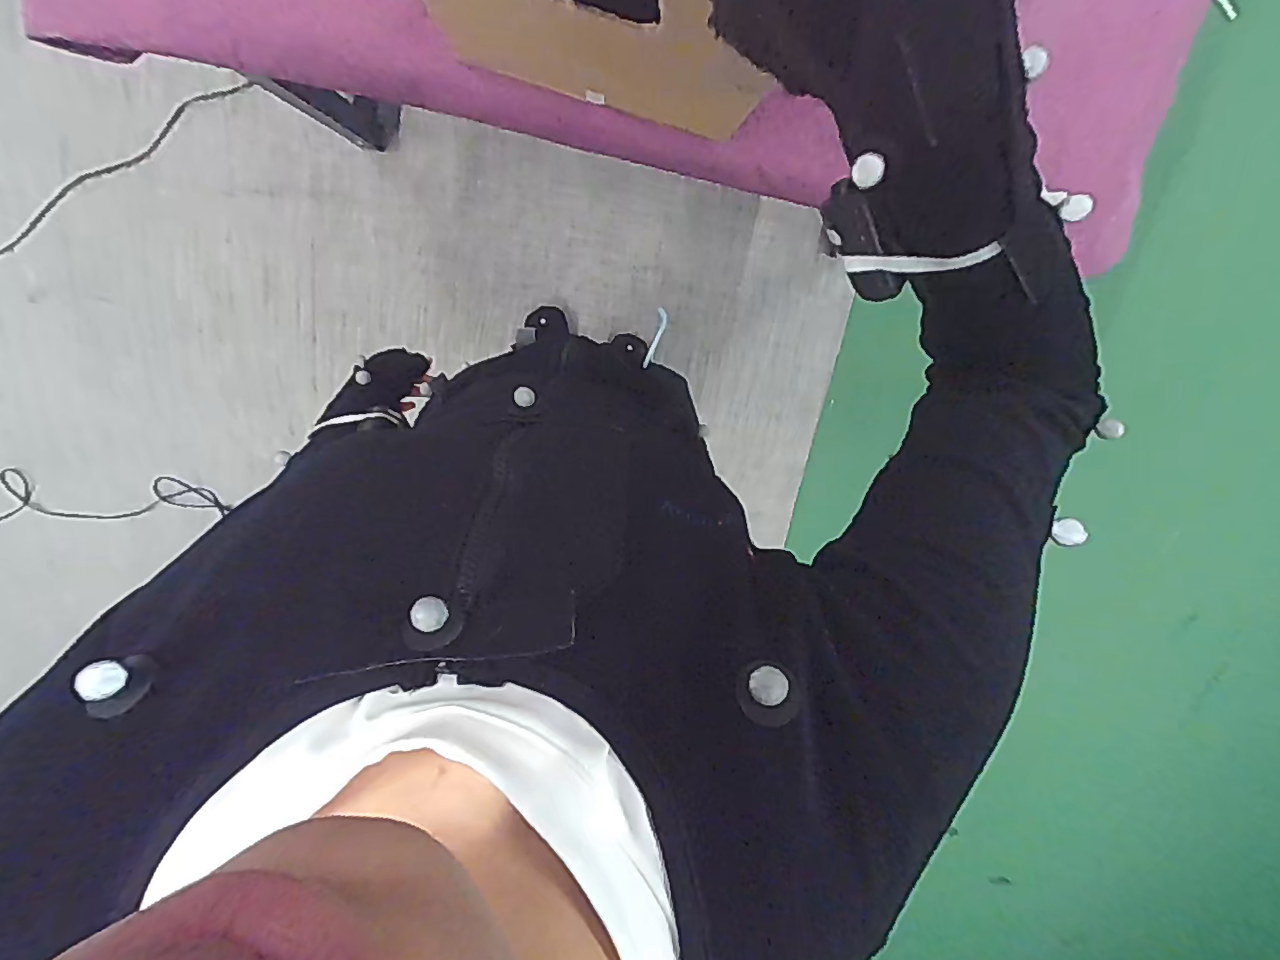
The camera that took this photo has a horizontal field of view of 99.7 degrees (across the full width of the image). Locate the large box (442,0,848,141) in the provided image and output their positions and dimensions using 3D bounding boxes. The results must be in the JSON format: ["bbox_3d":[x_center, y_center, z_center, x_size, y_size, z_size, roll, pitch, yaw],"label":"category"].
[{"bbox_3d":[0.018,-0.564,0.420,0.320,0.320,0.408,12,107,-8],"label":"large box"}]
